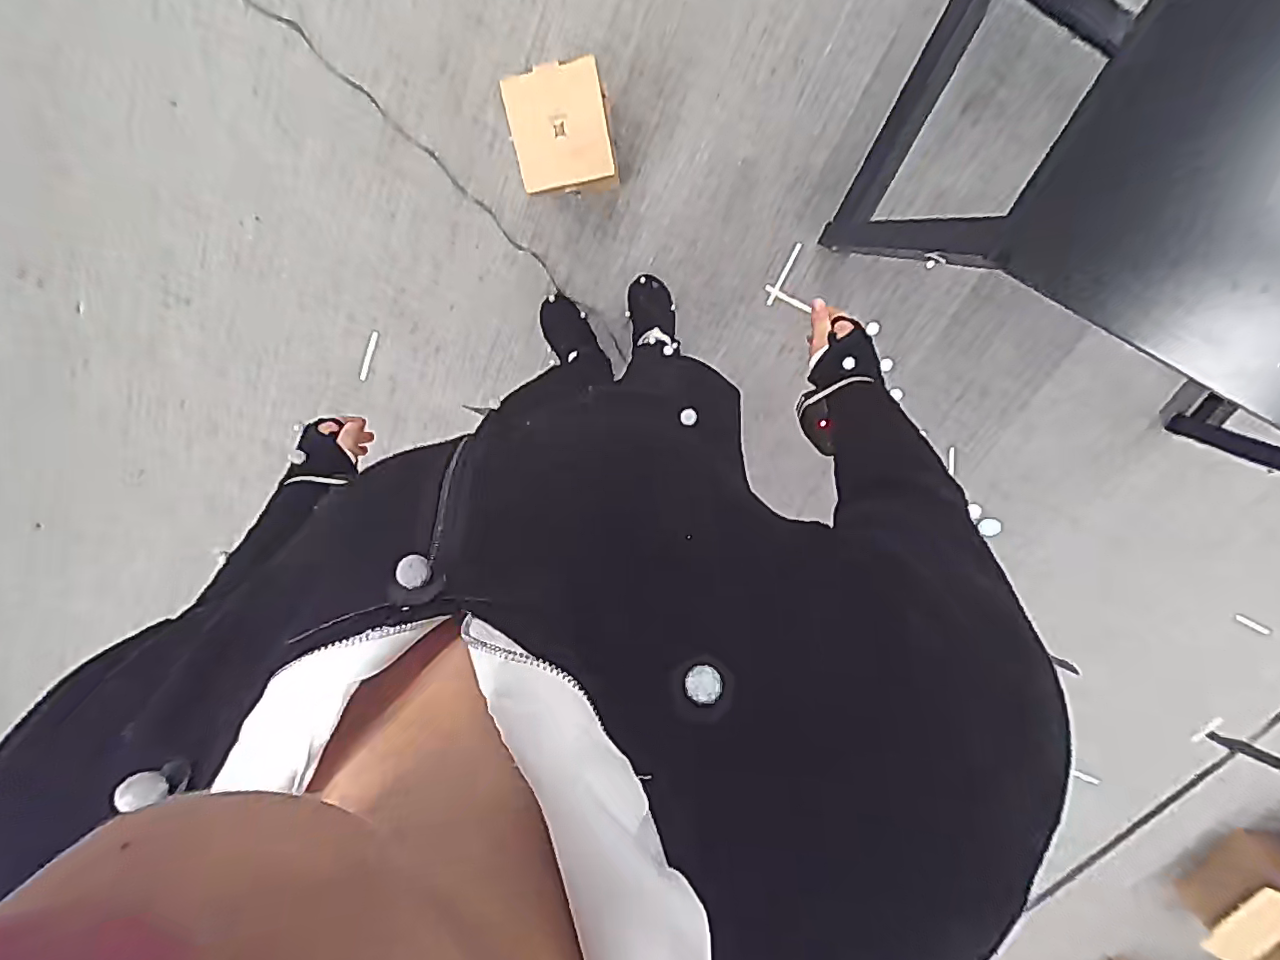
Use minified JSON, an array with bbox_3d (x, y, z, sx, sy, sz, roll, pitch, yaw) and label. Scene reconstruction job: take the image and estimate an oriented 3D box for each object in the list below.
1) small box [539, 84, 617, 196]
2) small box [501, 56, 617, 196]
[{"bbox_3d":[-0.139,-0.712,1.150,0.168,0.176,0.179,-6,114,2],"label":"small box"},{"bbox_3d":[-0.141,-0.642,1.003,0.168,0.176,0.179,-10,115,5],"label":"small box"}]
